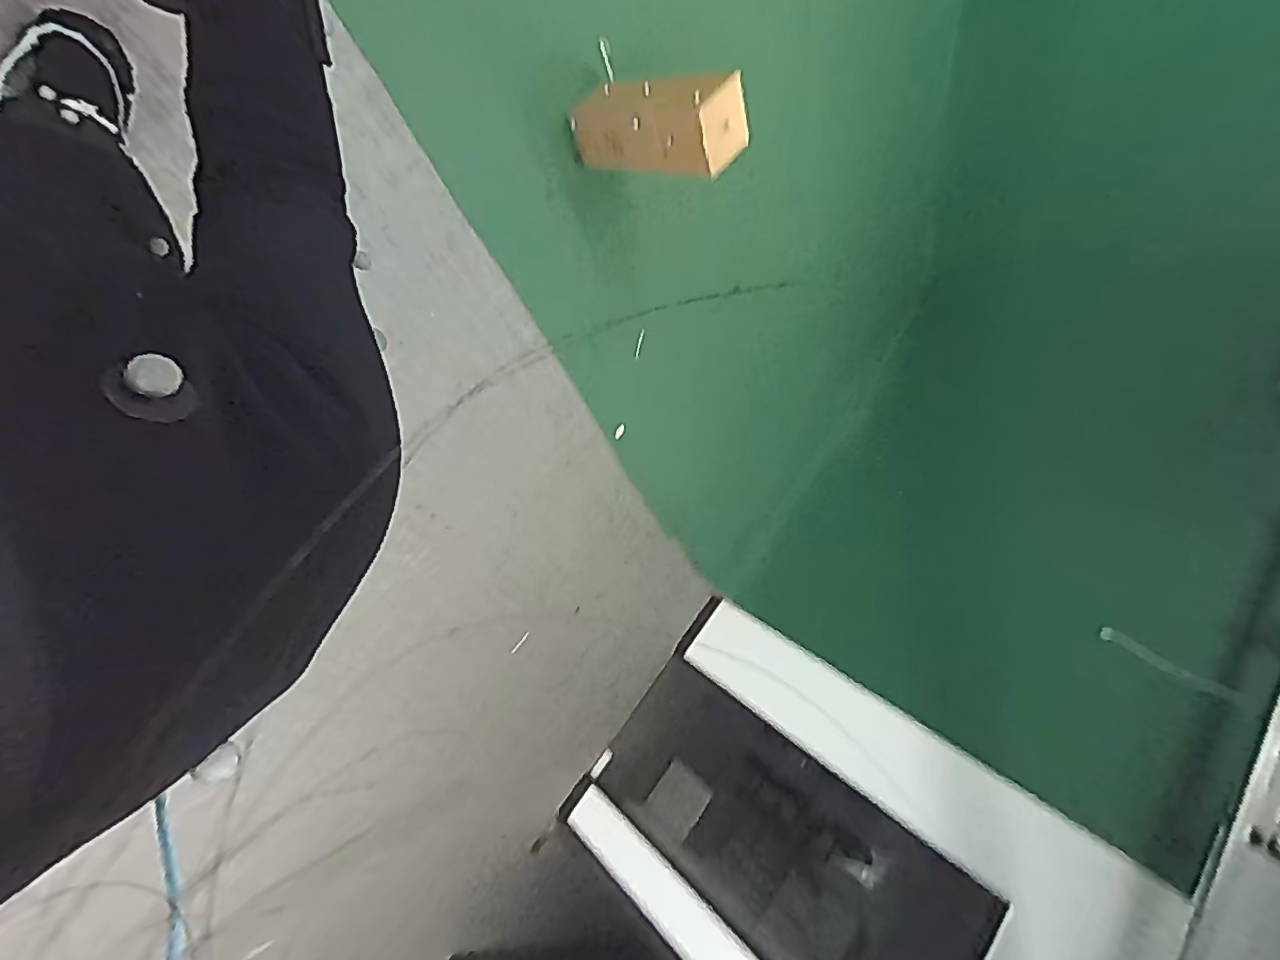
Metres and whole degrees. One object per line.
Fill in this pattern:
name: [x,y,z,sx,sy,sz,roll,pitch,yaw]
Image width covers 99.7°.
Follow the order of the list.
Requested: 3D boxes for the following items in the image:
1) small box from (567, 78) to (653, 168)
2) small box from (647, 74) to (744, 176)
small box: [-0.093,-1.058,1.607,0.179,0.176,0.168,-49,143,-17]
small box: [0.146,-0.934,1.420,0.179,0.176,0.168,-50,144,-16]
